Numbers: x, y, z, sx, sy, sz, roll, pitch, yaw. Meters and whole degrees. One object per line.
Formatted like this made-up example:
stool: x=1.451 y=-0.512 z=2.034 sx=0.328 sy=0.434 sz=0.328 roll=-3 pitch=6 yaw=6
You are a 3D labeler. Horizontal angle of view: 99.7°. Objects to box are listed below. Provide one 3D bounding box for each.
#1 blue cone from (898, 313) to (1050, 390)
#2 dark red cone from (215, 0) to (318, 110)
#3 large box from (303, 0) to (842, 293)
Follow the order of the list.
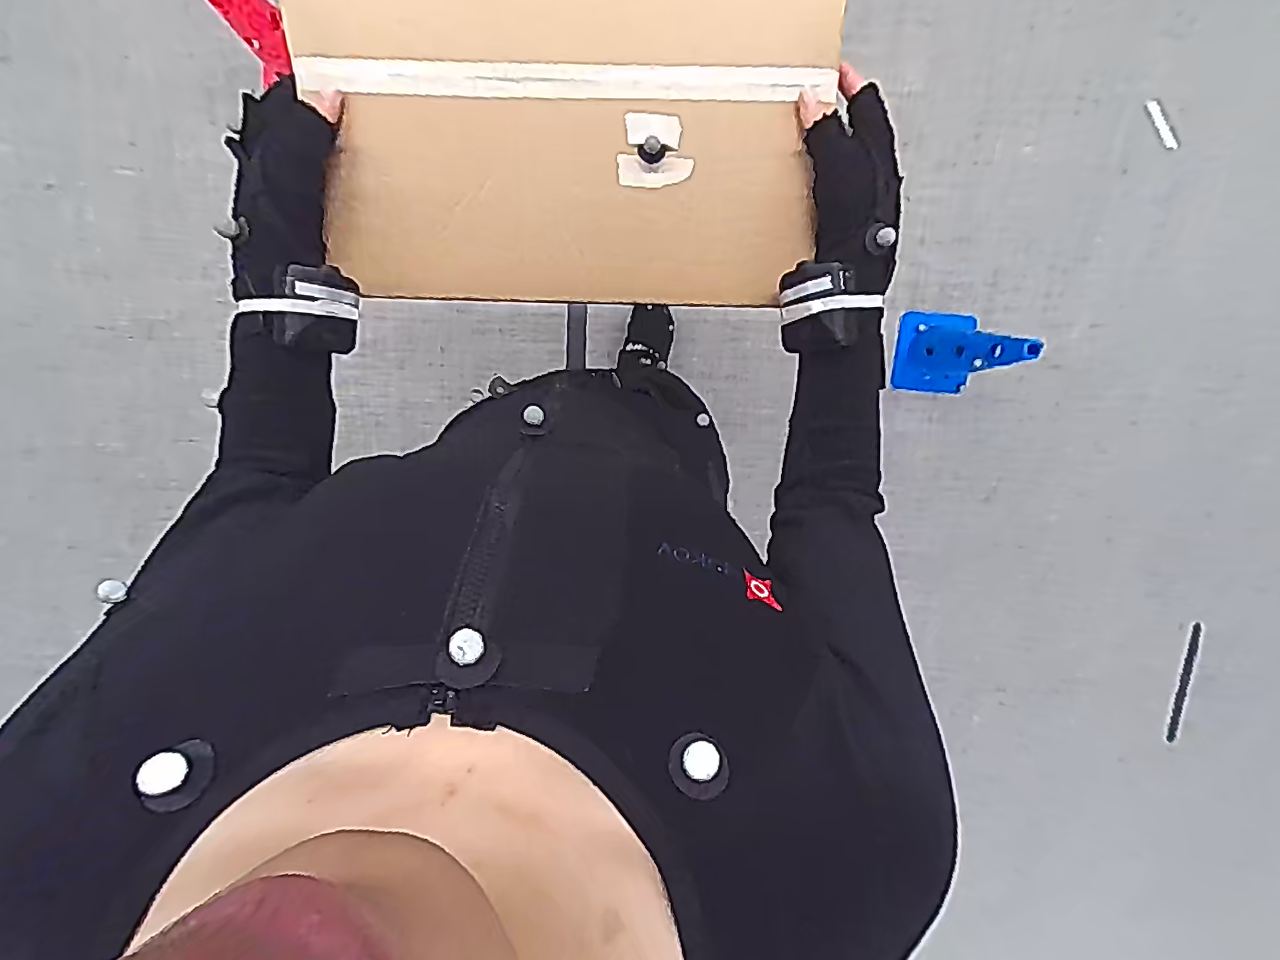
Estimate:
blue cone: x=0.778 y=-0.299 z=1.248 sx=0.192 sy=0.380 sz=0.193 roll=5 pitch=102 yaw=-3
dark red cone: x=-0.763 y=-0.918 z=1.062 sx=0.201 sy=0.394 sz=0.202 roll=8 pitch=102 yaw=-3
large box: x=-0.052 y=-0.358 z=0.551 sx=0.408 sy=0.320 sz=0.320 roll=1 pitch=110 yaw=-1
